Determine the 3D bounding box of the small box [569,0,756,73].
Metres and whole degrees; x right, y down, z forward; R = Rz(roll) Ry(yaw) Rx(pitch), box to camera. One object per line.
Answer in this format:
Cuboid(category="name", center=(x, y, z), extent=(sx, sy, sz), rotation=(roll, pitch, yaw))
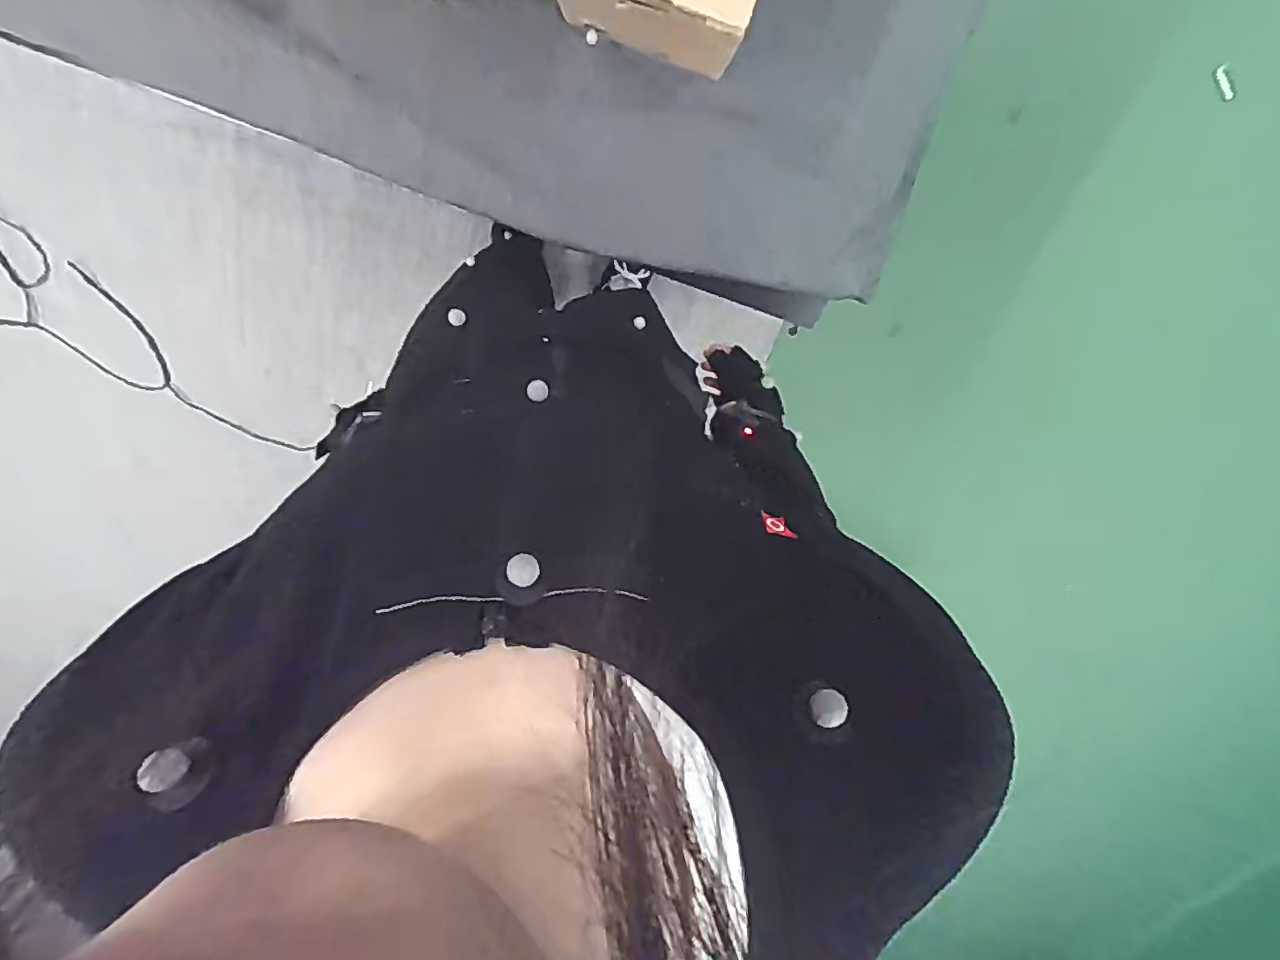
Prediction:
Cuboid(category="small box", center=(0.031, -0.474, 0.444), extent=(0.168, 0.176, 0.179), rotation=(15, 115, -8))
